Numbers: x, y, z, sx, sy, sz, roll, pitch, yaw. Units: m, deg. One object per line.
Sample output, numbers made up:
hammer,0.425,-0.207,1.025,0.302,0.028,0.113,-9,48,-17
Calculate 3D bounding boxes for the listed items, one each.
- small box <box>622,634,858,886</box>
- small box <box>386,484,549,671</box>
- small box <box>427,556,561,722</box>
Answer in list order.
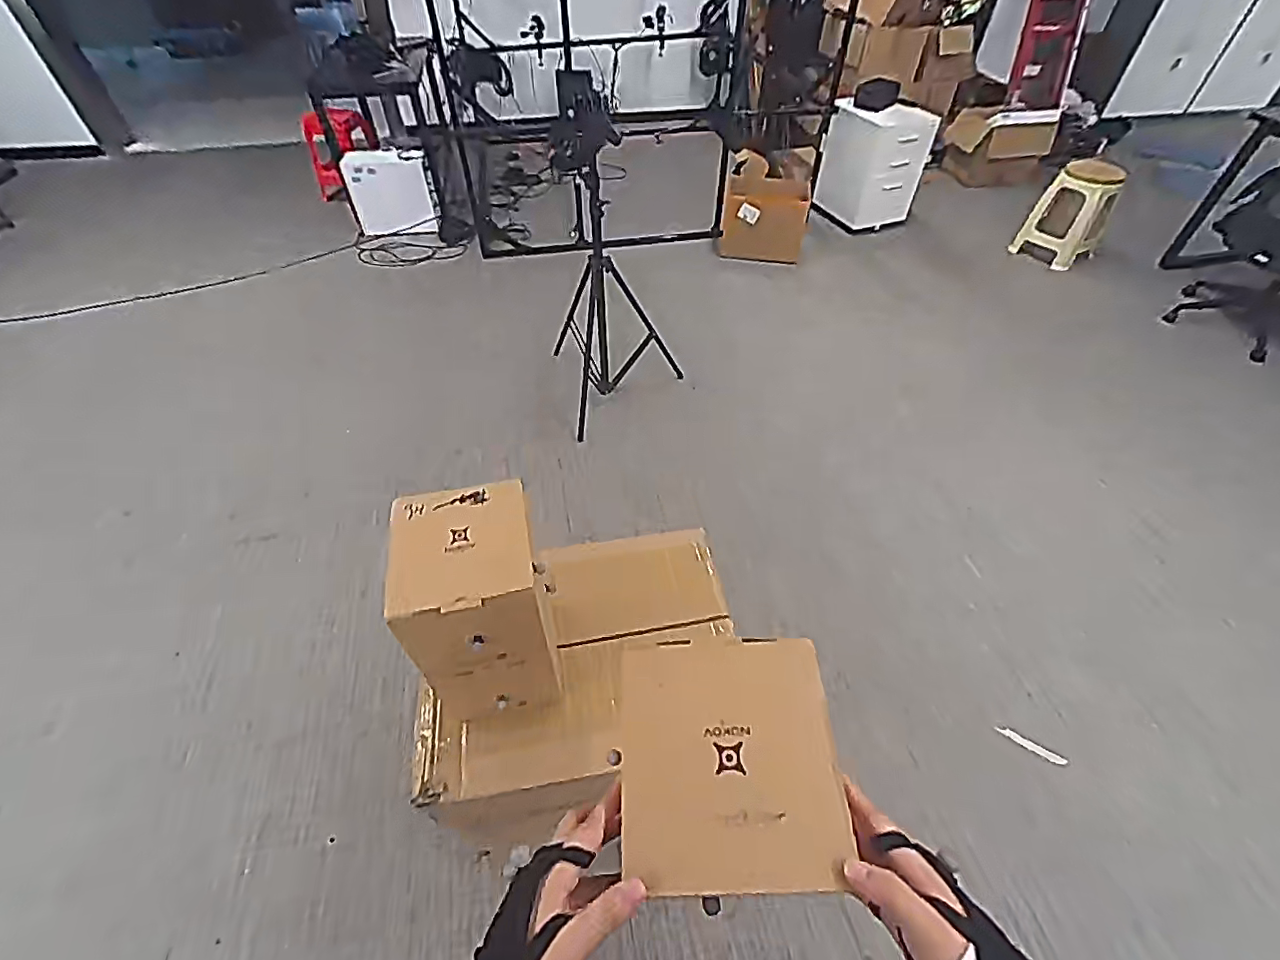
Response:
small box,0.069,0.253,0.484,0.168,0.176,0.179,-2,54,1
small box,-0.219,0.134,0.715,0.168,0.176,0.179,-10,50,-10
small box,-0.219,0.245,0.836,0.168,0.176,0.179,-9,49,-9
